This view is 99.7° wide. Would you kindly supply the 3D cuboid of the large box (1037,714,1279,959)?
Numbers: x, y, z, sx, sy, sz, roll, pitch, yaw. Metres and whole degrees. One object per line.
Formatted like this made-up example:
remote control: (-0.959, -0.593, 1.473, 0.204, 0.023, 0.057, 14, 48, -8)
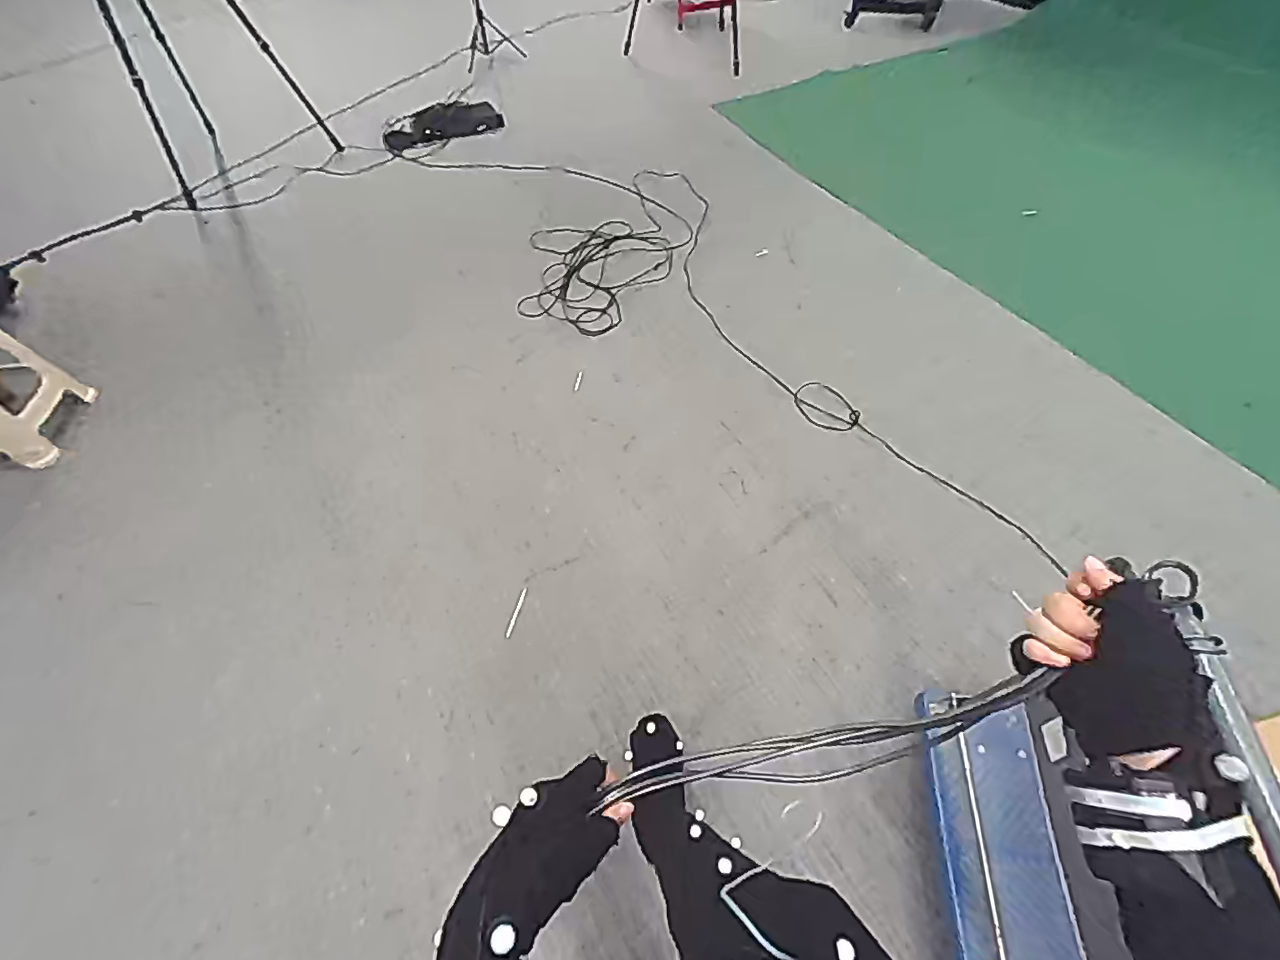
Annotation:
large box: (0.988, 0.658, 0.880, 0.320, 0.320, 0.408, -12, 55, -8)
